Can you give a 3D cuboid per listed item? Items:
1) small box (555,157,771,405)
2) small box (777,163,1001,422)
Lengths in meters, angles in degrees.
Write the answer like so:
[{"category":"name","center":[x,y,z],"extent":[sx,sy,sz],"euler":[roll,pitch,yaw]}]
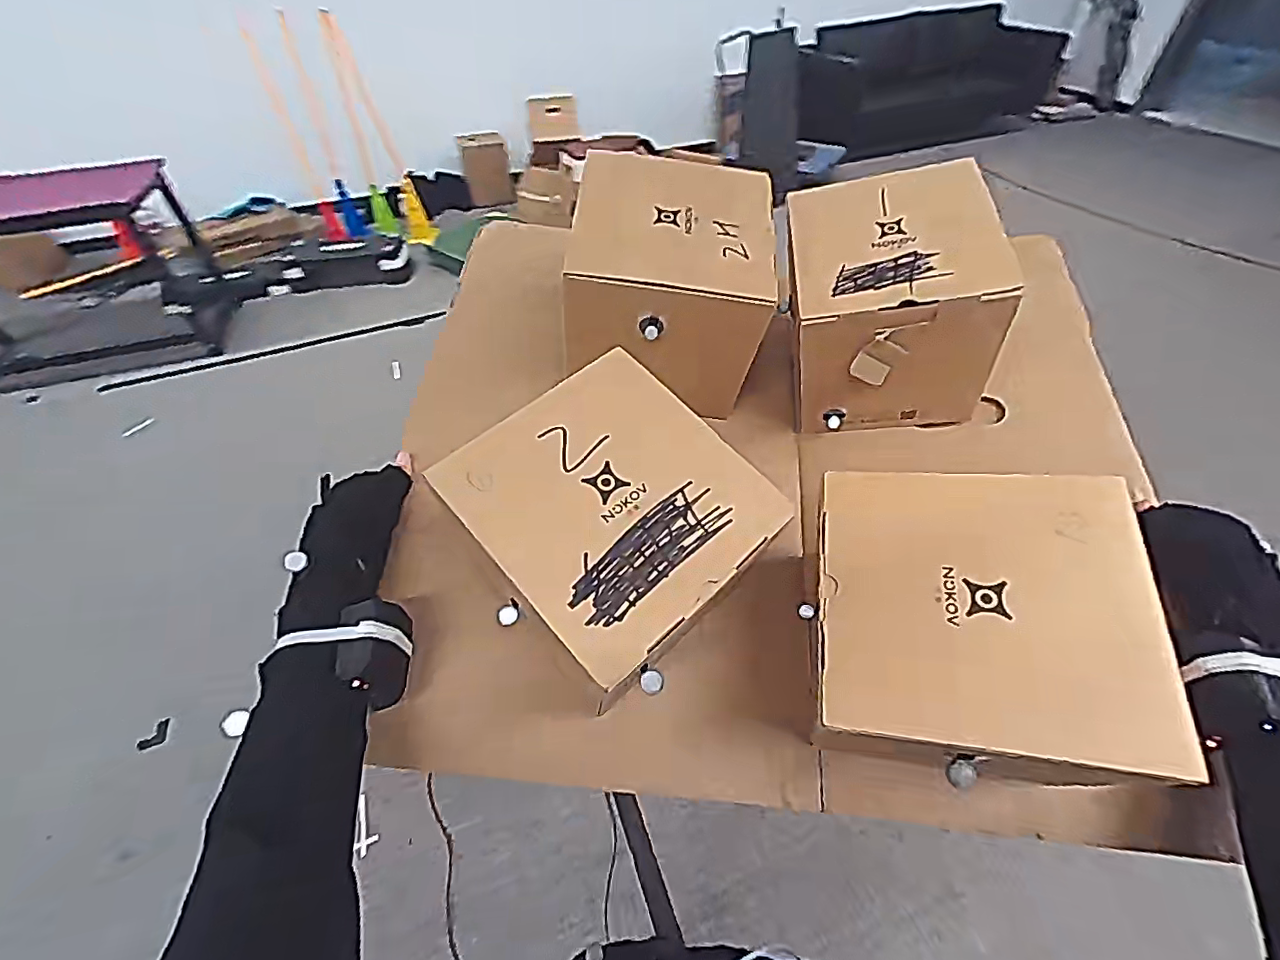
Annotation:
[{"category":"small box","center":[0.025,-0.187,0.536],"extent":[0.179,0.176,0.168],"euler":[1,65,3]},{"category":"small box","center":[0.228,-0.170,0.540],"extent":[0.168,0.176,0.179],"euler":[-3,59,15]}]
